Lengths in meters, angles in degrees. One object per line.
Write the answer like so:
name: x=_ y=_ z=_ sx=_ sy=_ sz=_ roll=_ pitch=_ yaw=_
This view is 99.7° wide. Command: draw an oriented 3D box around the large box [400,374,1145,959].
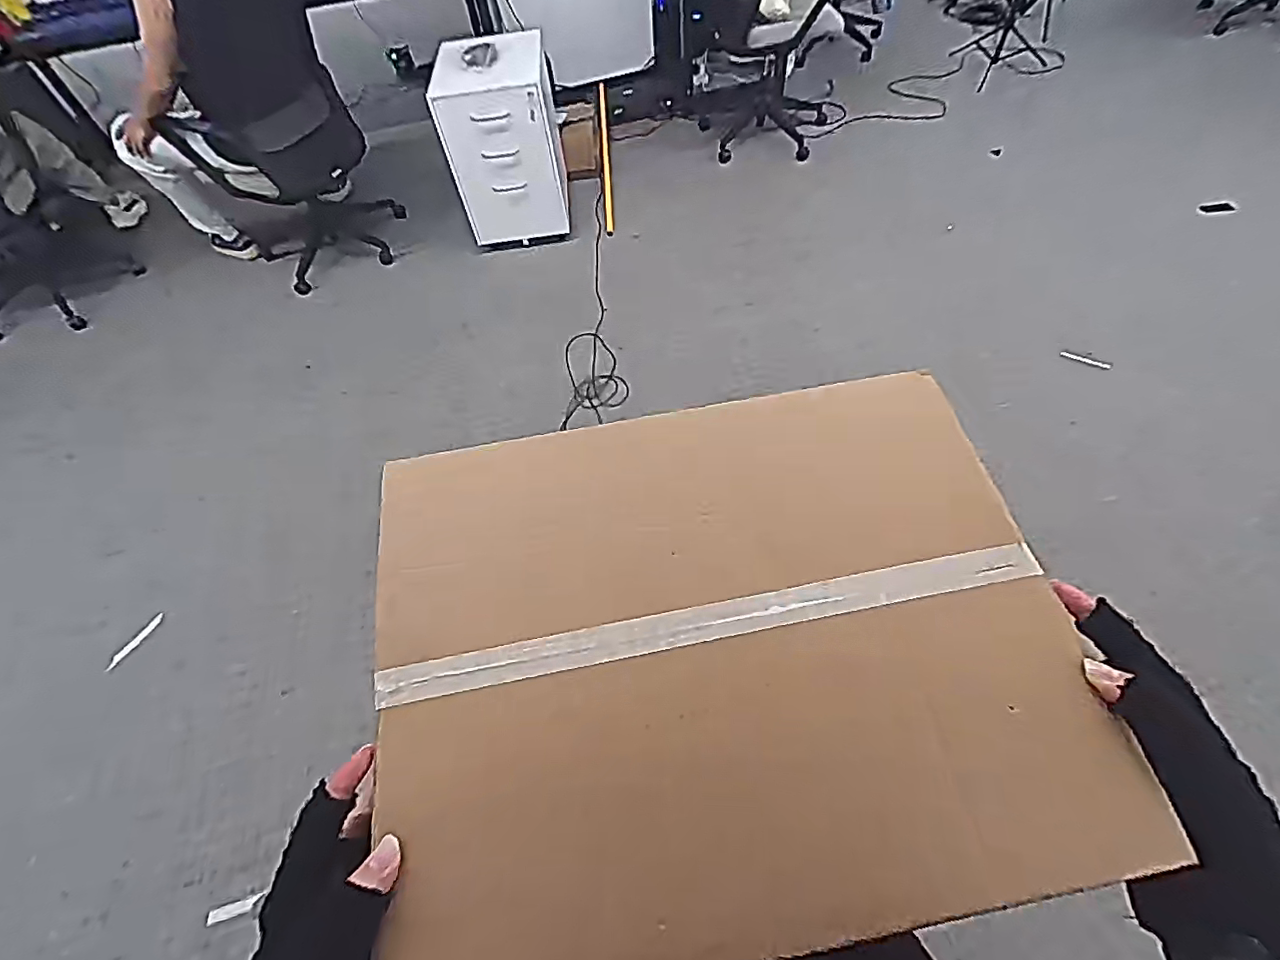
large box: x=0.052 y=0.156 z=0.474 sx=0.408 sy=0.320 sz=0.320 roll=-11 pitch=63 yaw=-3
